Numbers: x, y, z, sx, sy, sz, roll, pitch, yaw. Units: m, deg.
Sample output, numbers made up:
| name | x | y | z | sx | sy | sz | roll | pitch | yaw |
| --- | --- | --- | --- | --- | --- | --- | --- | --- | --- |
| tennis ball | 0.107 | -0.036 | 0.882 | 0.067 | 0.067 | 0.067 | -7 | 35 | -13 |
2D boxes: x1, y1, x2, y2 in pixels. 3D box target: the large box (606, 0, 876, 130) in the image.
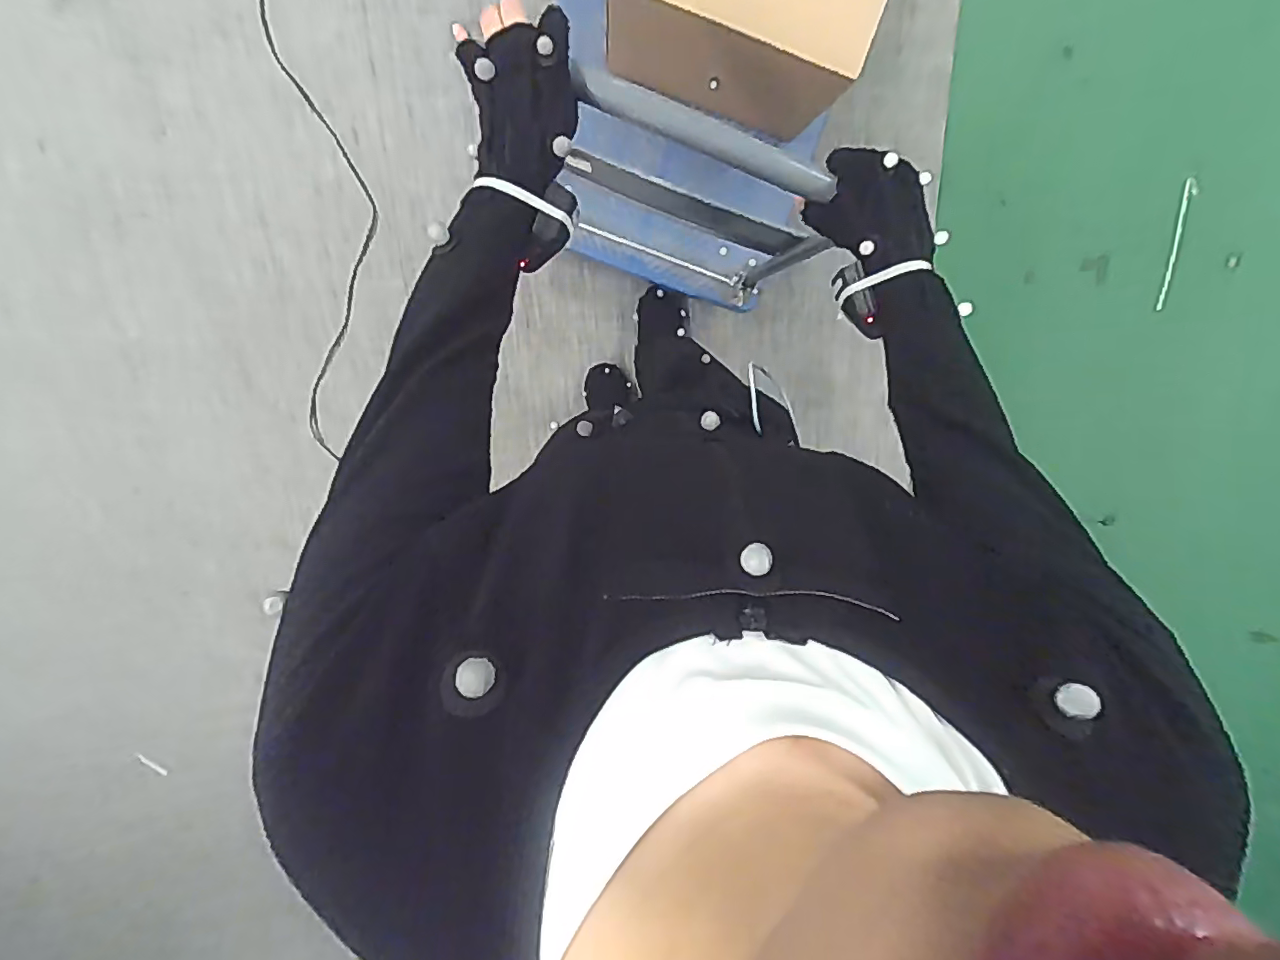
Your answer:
| name | x | y | z | sx | sy | sz | roll | pitch | yaw |
| --- | --- | --- | --- | --- | --- | --- | --- | --- | --- |
| large box | 0.176 | -0.865 | 0.915 | 0.408 | 0.320 | 0.320 | 15 | 104 | -8 |
